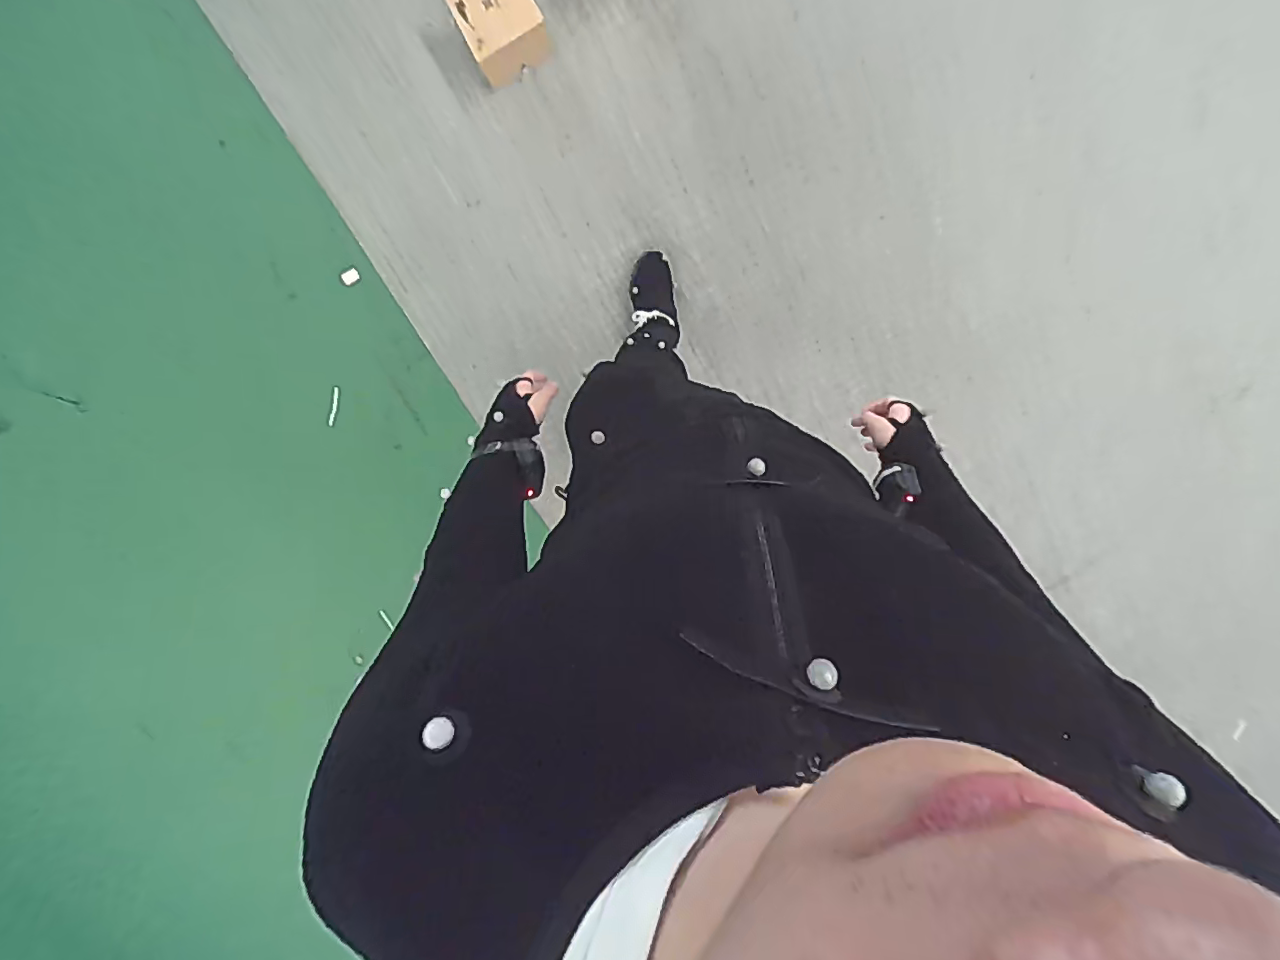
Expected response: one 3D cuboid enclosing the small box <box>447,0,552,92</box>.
[{"bbox_3d":[-0.316,-1.048,1.244,0.179,0.176,0.168,-26,104,8],"label":"small box"}]
